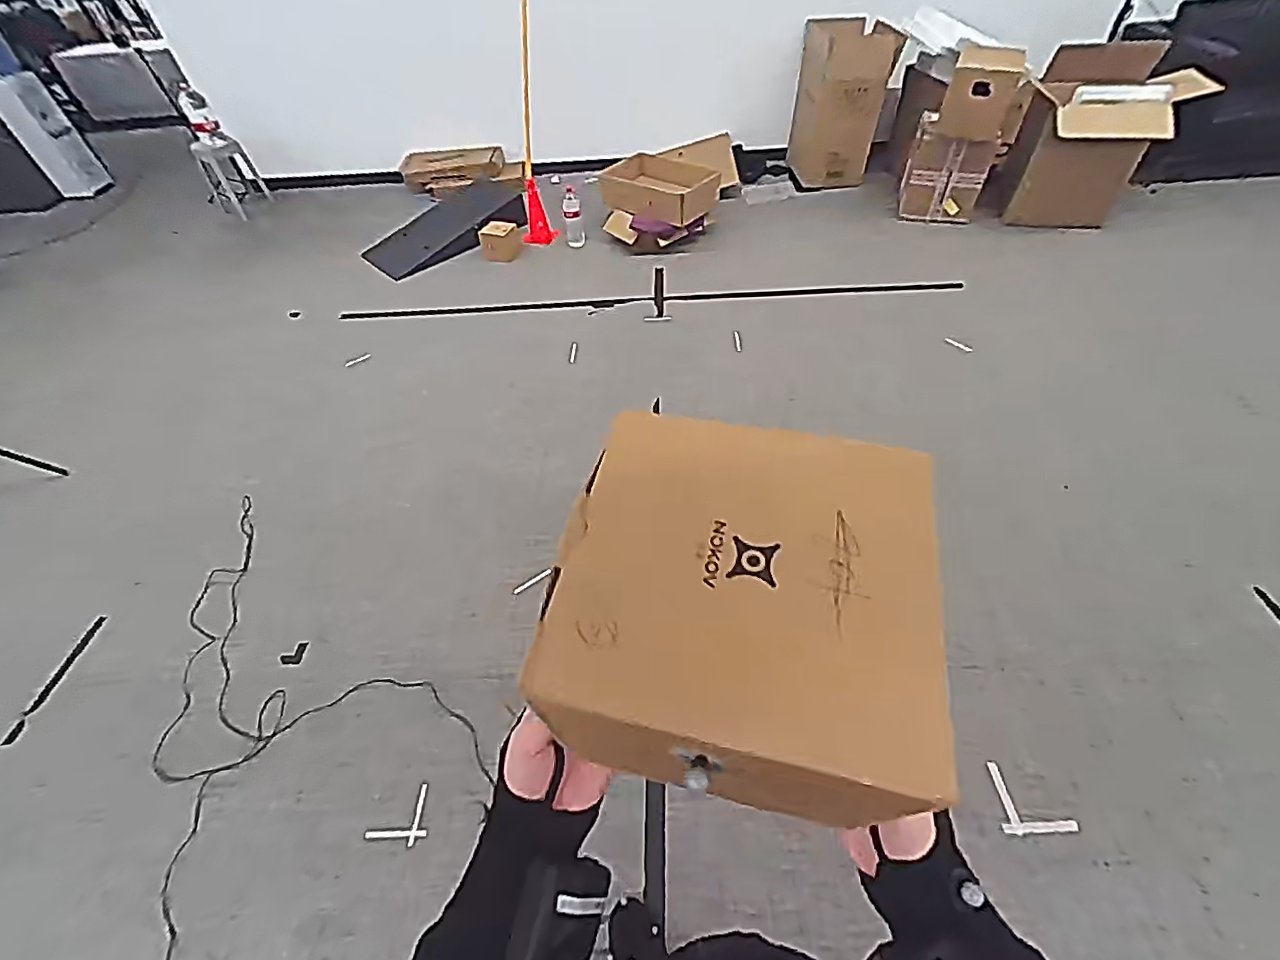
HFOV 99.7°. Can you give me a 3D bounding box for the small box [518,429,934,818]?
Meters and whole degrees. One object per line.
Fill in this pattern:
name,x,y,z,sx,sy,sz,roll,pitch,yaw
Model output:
small box,0.052,0.092,0.331,0.179,0.176,0.168,8,56,10
